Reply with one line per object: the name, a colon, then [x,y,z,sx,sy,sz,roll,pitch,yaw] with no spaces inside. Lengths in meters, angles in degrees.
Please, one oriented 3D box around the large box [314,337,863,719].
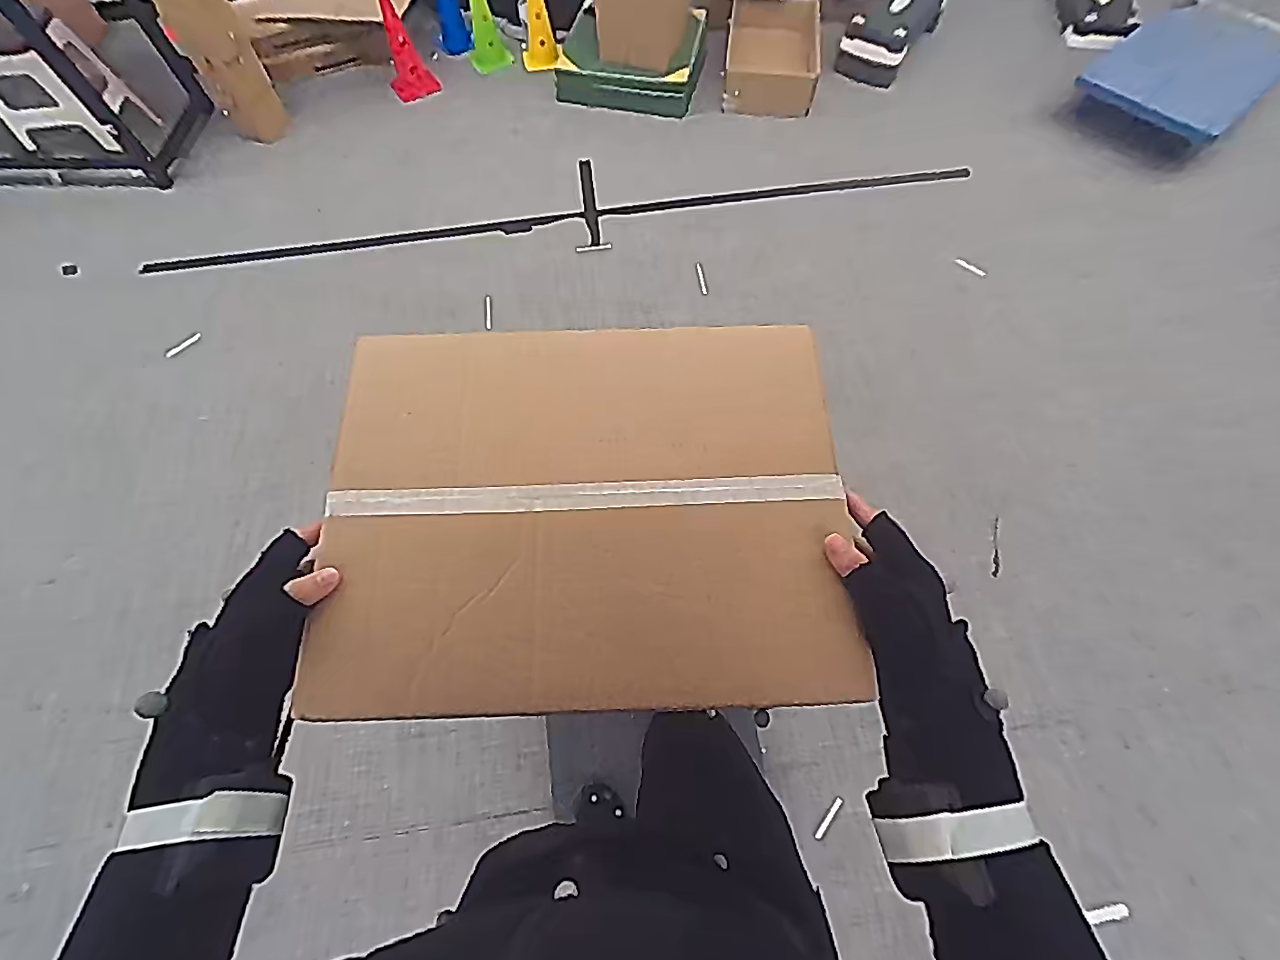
large box: [-0.040,0.070,0.577,0.408,0.320,0.320,-1,69,-1]
